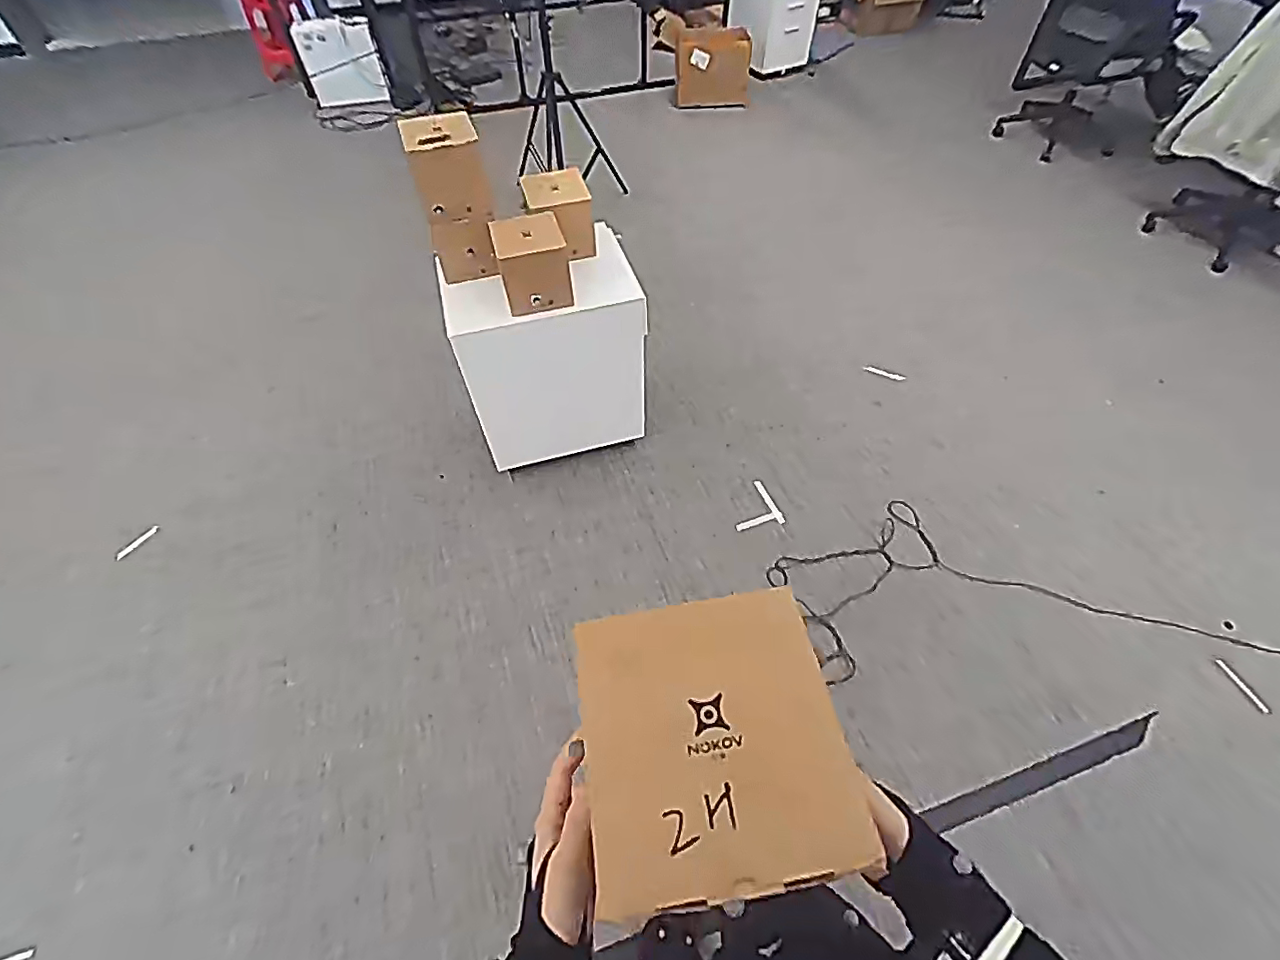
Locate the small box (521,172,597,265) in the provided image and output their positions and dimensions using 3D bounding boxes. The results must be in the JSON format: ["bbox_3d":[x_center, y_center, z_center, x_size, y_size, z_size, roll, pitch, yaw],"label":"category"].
[{"bbox_3d":[-0.222,-0.717,1.501,0.168,0.176,0.179,-14,55,-8],"label":"small box"}]

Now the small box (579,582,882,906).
[{"bbox_3d":[0.051,0.205,0.419,0.168,0.176,0.179,-10,55,-2],"label":"small box"}]

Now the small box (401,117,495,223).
[{"bbox_3d":[-0.466,-0.751,1.324,0.168,0.176,0.179,-17,56,-12],"label":"small box"}]
